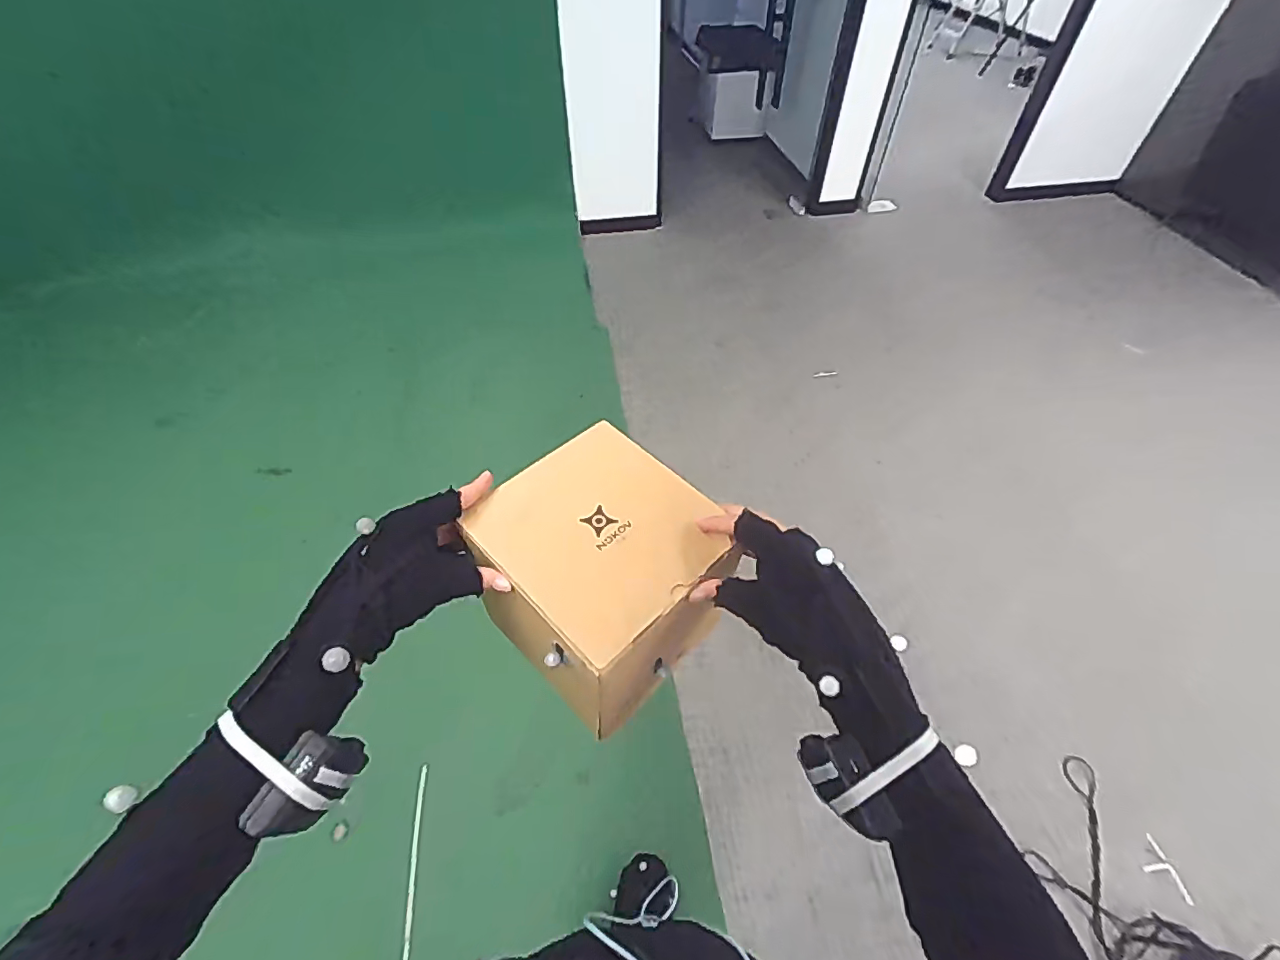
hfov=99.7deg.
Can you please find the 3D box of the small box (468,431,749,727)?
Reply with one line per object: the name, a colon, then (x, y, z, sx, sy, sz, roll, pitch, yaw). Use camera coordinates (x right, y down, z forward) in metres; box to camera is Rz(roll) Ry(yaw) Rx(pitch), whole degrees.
small box: (-0.030, 0.092, 0.504, 0.179, 0.176, 0.168, 38, 58, 25)
